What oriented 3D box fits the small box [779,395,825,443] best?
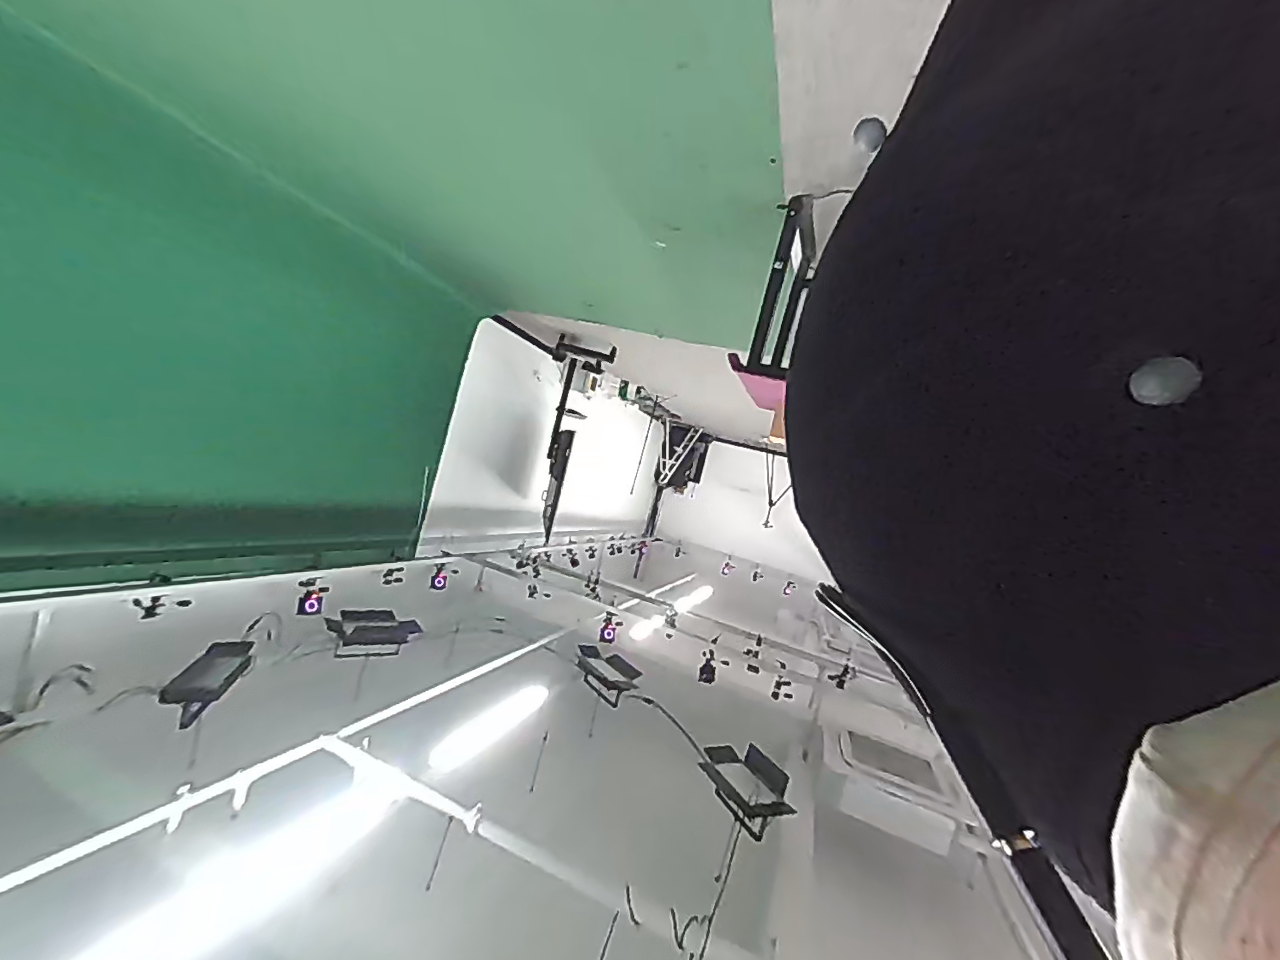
[{"bbox_3d":[0.736,-0.275,2.447,0.168,0.176,0.179,14,-179,19],"label":"small box"}]
